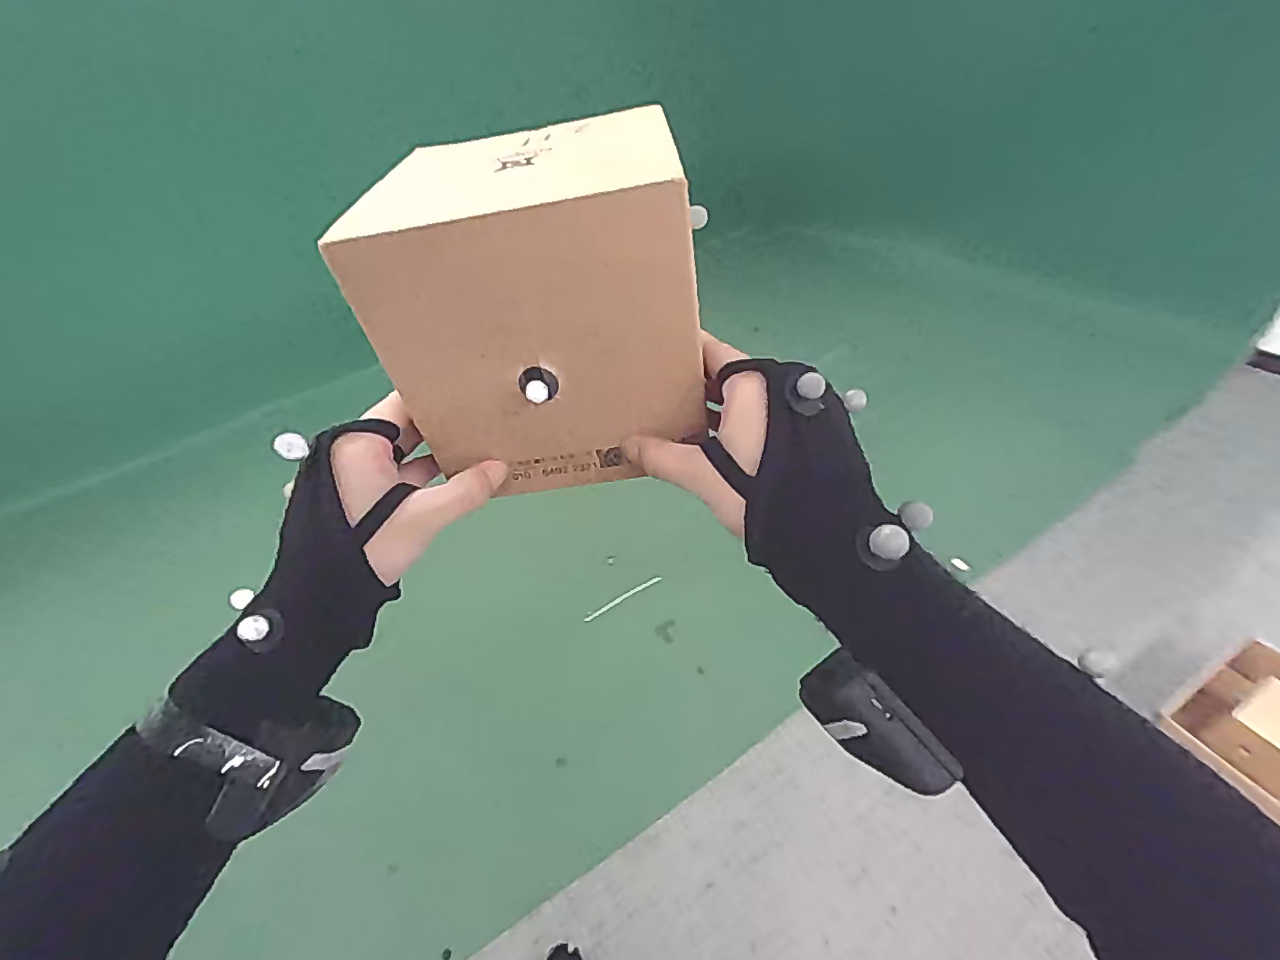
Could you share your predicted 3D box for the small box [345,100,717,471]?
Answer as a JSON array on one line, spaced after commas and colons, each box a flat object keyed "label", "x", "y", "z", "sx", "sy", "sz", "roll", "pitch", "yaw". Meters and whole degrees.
[{"label": "small box", "x": -0.043, "y": -0.119, "z": 0.350, "sx": 0.168, "sy": 0.176, "sz": 0.179, "roll": -6, "pitch": 42, "yaw": 5}]

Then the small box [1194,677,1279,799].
[{"label": "small box", "x": 1.470, "y": 0.607, "z": 1.266, "sx": 0.179, "sy": 0.176, "sz": 0.168, "roll": -26, "pitch": 46, "yaw": -17}]
